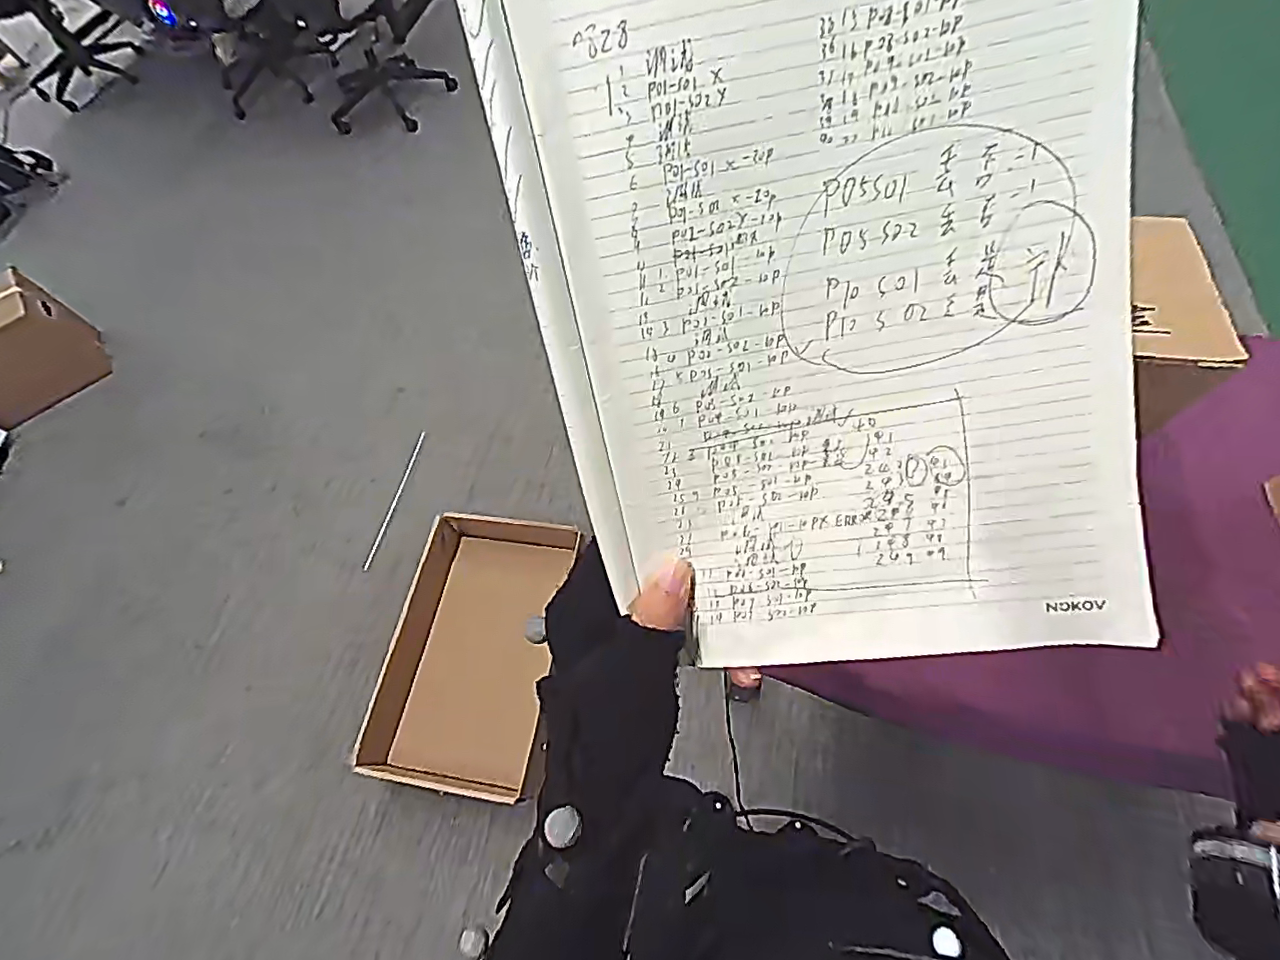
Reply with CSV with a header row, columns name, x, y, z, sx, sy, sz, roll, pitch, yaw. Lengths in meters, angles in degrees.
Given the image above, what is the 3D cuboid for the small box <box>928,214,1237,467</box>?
name,x,y,z,sx,sy,sz,roll,pitch,yaw
small box,0.402,-0.131,0.534,0.168,0.176,0.179,8,62,11
